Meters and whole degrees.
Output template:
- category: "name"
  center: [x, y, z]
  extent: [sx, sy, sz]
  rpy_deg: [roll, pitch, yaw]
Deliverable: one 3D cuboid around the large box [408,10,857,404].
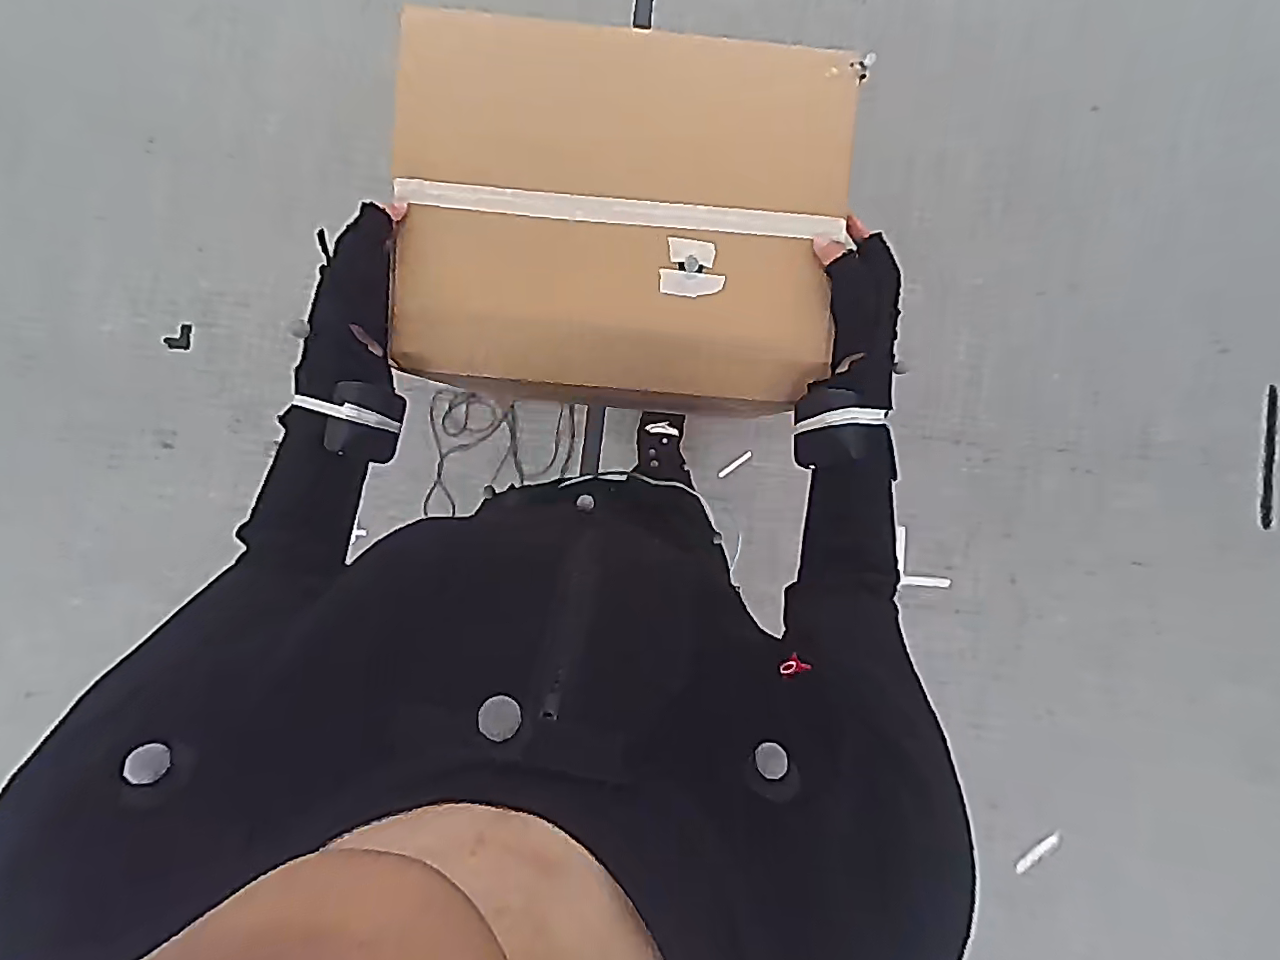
- category: "large box"
  center: [-0.016, -0.266, 0.647]
  extent: [0.408, 0.320, 0.320]
  rpy_deg: [5, 96, -2]
